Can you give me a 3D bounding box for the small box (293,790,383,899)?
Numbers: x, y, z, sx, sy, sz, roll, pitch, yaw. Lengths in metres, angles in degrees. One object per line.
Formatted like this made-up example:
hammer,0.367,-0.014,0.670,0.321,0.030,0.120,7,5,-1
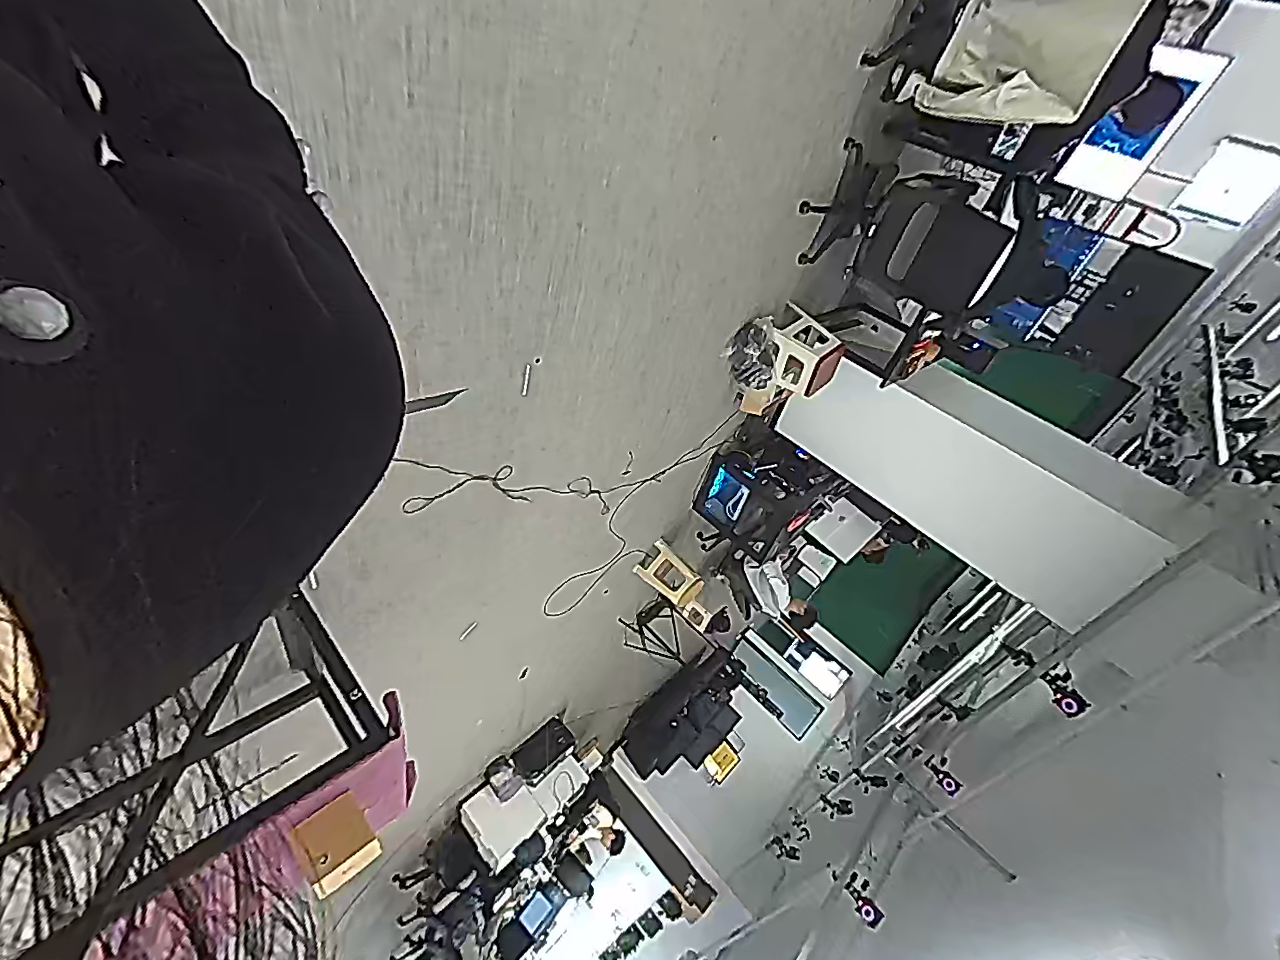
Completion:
small box,-0.872,1.046,1.557,0.179,0.176,0.168,-27,148,-39
